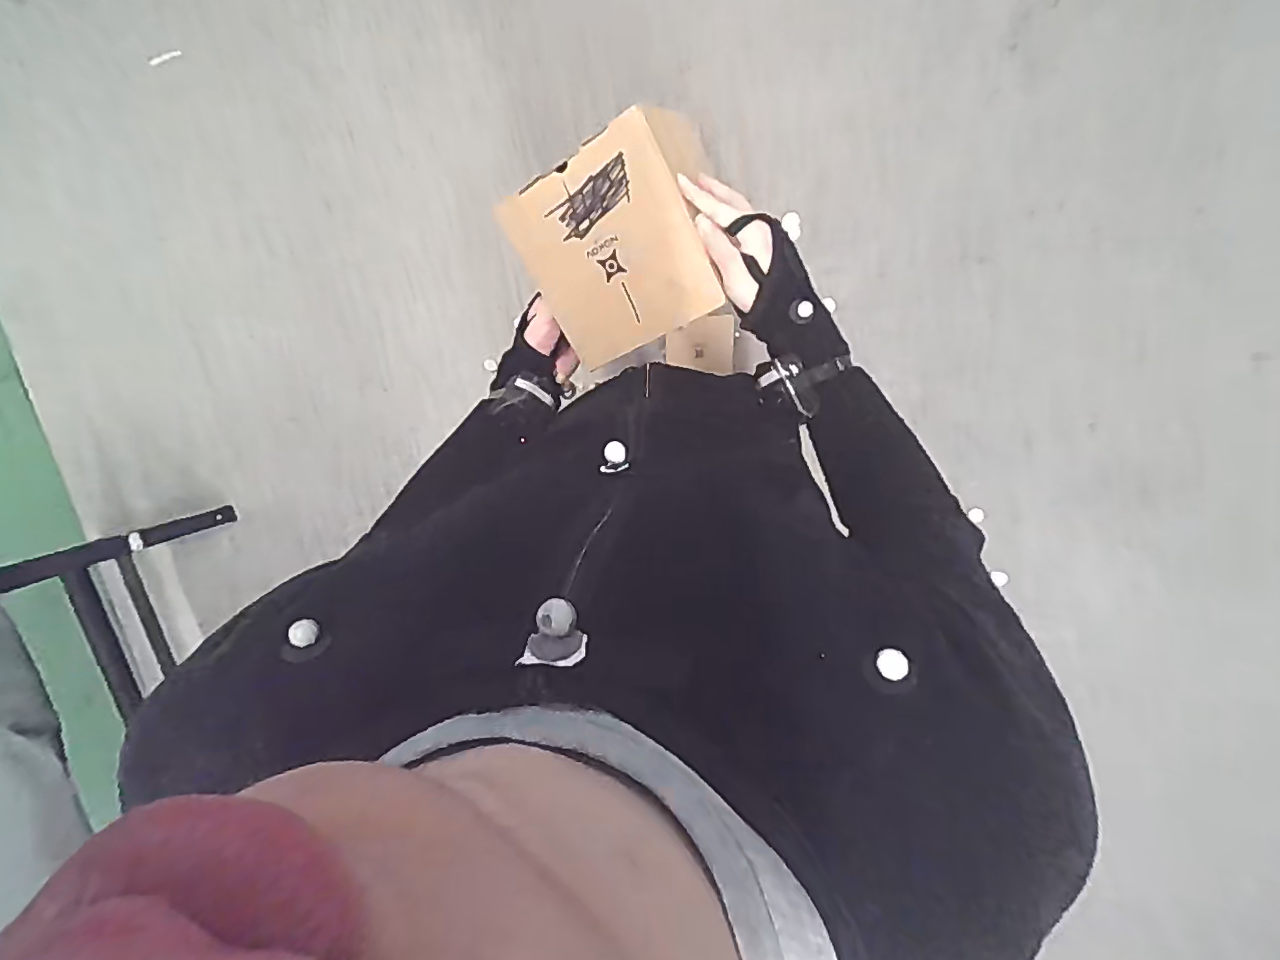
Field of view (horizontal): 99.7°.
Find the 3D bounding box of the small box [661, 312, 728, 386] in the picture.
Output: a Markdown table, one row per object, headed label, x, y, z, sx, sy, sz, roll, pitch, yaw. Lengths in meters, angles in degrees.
| label | x | y | z | sx | sy | sz | roll | pitch | yaw |
| --- | --- | --- | --- | --- | --- | --- | --- | --- | --- |
| small box | 0.144 | -0.338 | 1.412 | 0.168 | 0.176 | 0.179 | 0 | 103 | 8 |
